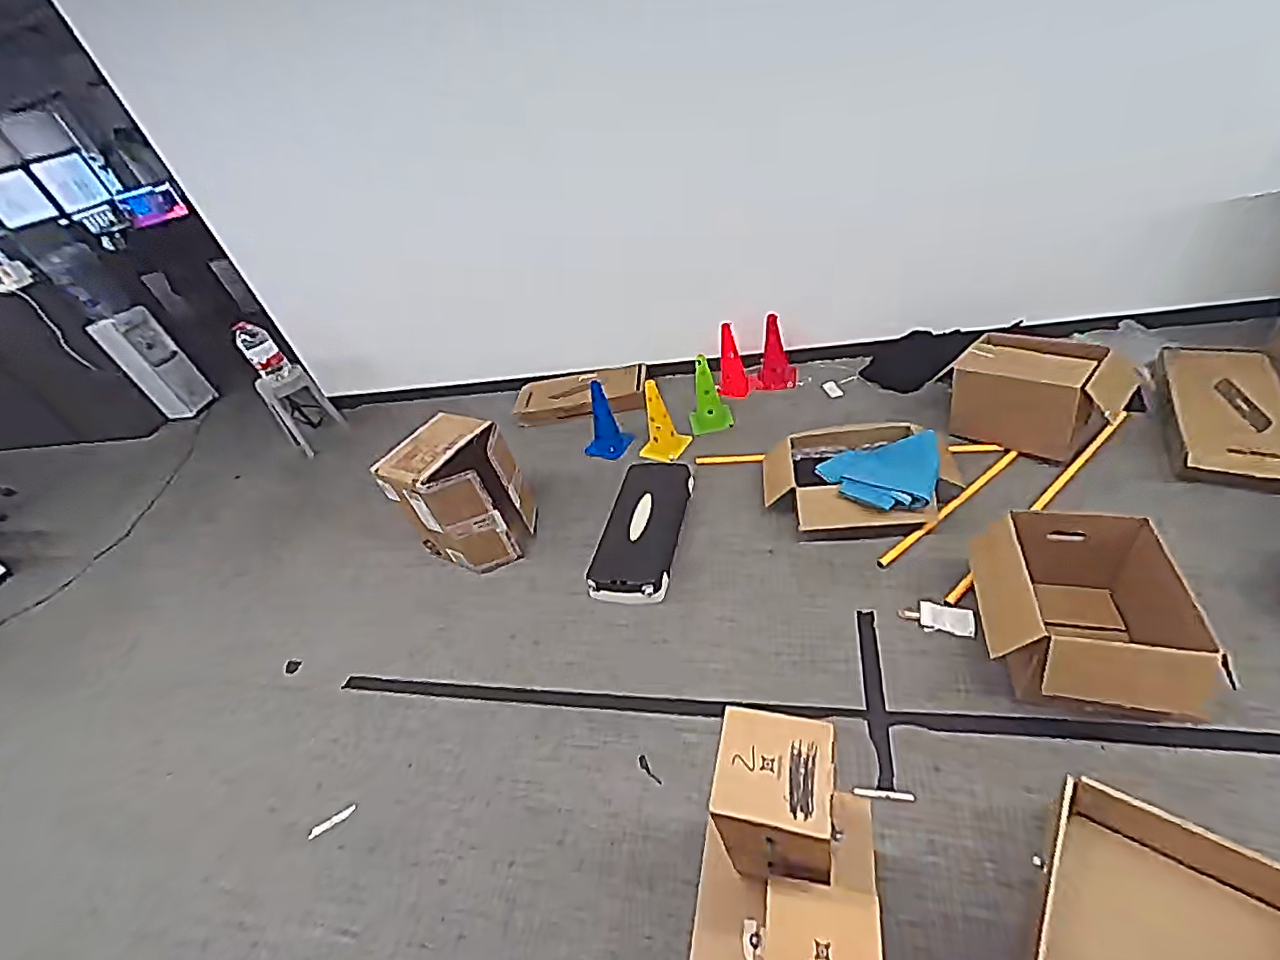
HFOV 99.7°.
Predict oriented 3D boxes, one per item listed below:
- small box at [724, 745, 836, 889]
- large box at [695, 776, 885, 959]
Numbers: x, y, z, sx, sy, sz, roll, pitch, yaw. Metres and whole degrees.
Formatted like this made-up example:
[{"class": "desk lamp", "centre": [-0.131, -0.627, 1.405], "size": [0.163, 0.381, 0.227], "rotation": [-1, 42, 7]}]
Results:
[{"class": "small box", "centre": [0.261, 0.612, 0.983], "size": [0.179, 0.176, 0.168], "rotation": [2, 44, 20]}, {"class": "large box", "centre": [0.297, 0.867, 1.061], "size": [0.320, 0.320, 0.408], "rotation": [-2, 42, 19]}]
